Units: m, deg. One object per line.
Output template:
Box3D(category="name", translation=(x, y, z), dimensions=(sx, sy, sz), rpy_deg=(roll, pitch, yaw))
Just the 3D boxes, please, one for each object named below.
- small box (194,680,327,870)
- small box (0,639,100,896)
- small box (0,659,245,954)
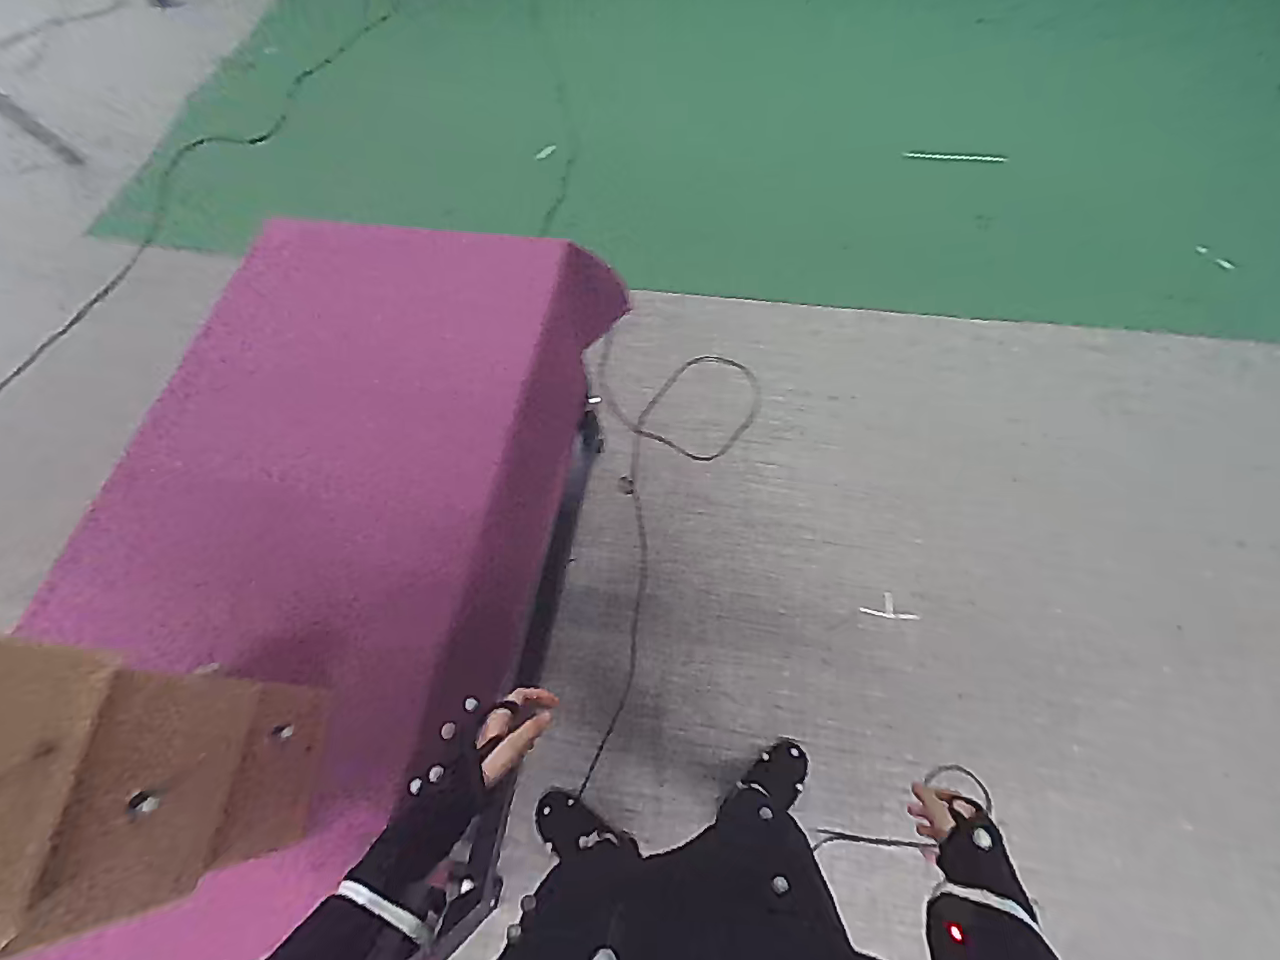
Box3D(category="small box", translation=(-0.484, 0.305, 0.587), dimensions=(0.179, 0.176, 0.168), rpy_deg=(1, 65, 5))
Box3D(category="small box", translation=(-0.469, 0.168, 0.290), dimensions=(0.179, 0.176, 0.168), rpy_deg=(-3, 65, 3))
Box3D(category="small box", translation=(-0.470, 0.242, 0.435), dimensions=(0.168, 0.176, 0.179), rpy_deg=(1, 66, 4))
